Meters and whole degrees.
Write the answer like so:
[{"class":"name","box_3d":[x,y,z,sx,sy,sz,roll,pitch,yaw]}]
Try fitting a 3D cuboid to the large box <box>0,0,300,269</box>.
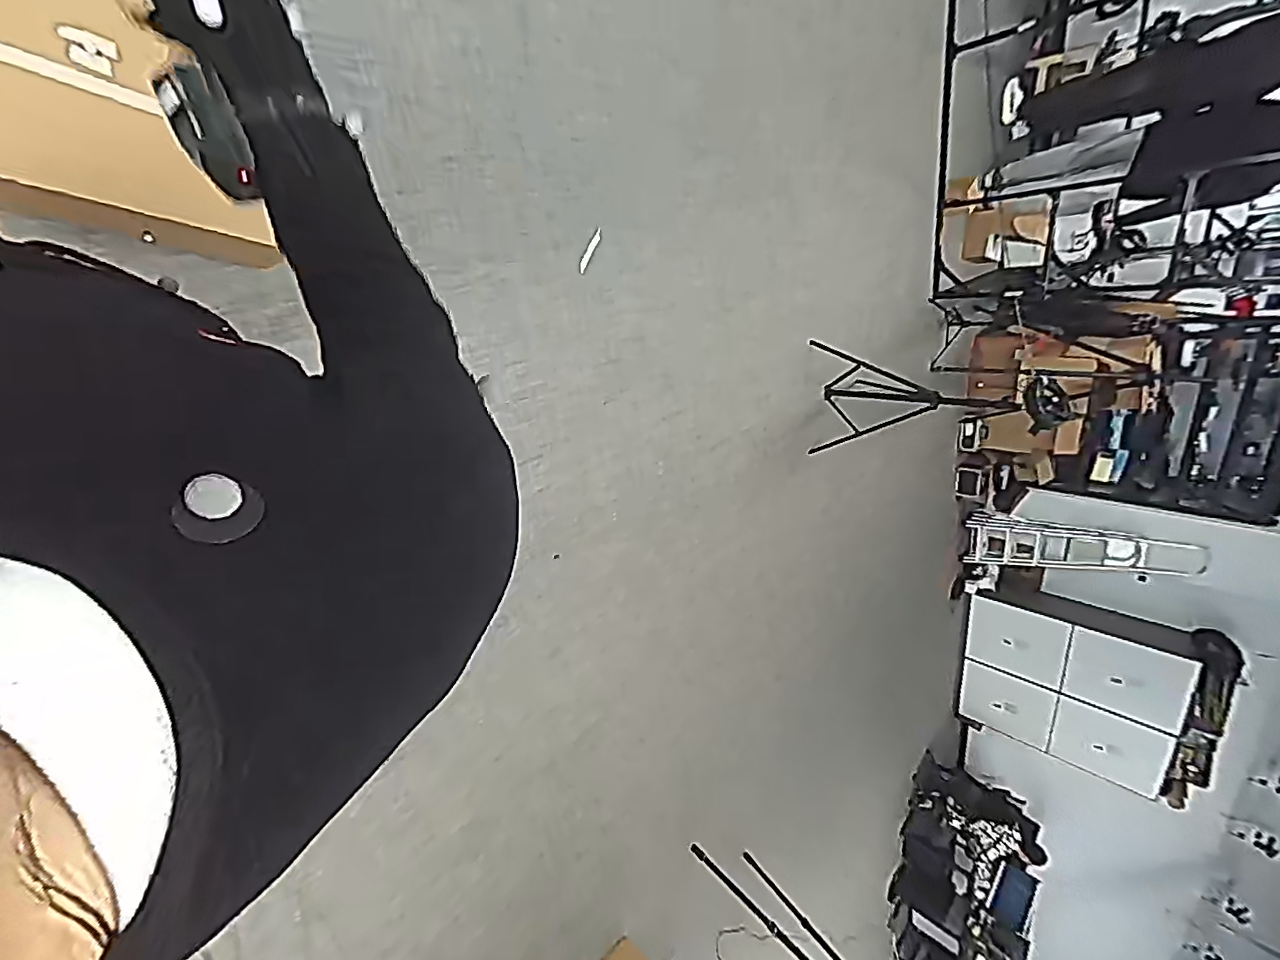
[{"class":"large box","box_3d":[-0.855,-0.583,0.938,0.408,0.320,0.320,0,99,-44]}]
